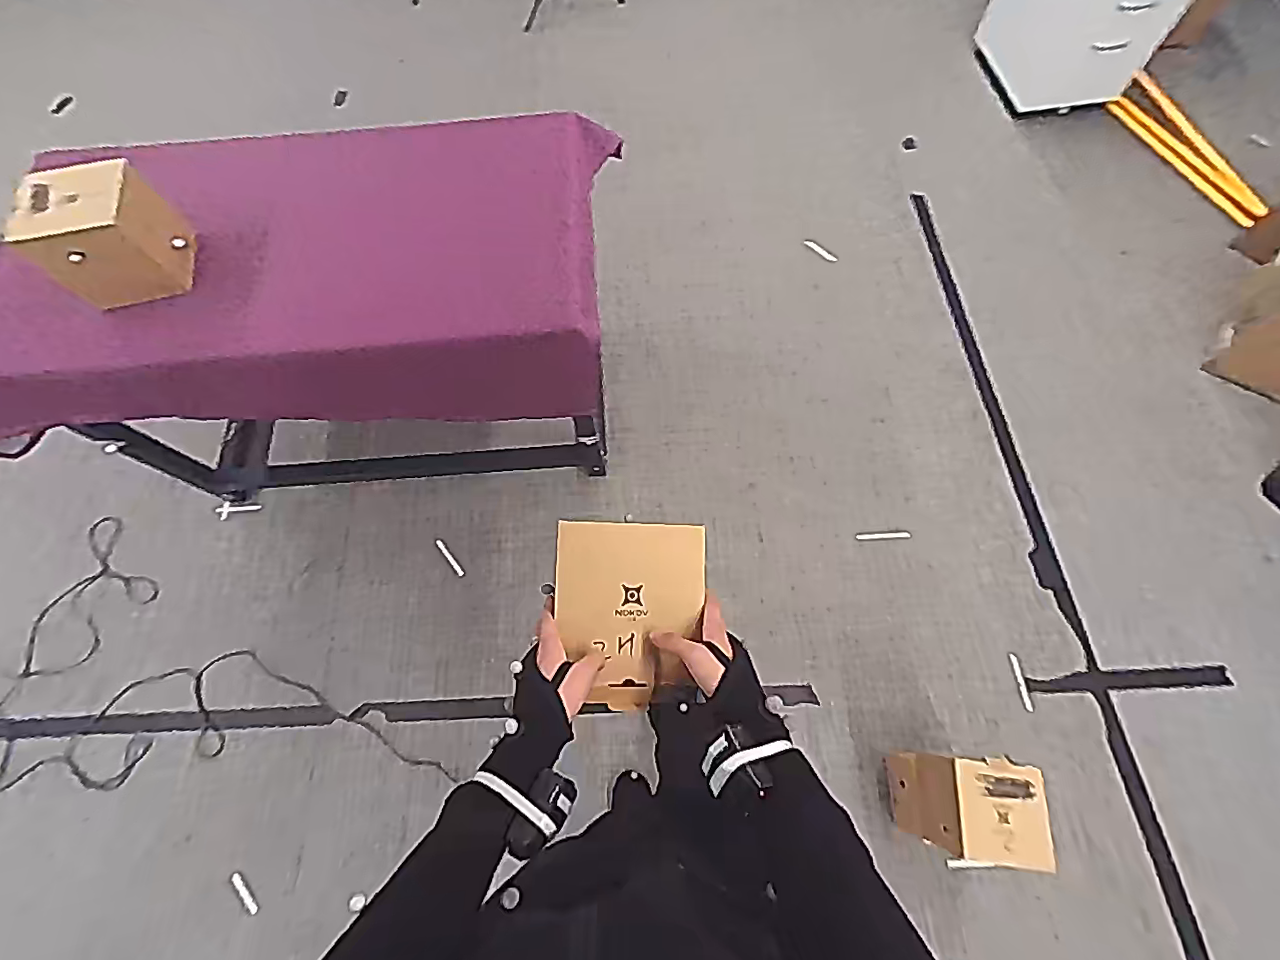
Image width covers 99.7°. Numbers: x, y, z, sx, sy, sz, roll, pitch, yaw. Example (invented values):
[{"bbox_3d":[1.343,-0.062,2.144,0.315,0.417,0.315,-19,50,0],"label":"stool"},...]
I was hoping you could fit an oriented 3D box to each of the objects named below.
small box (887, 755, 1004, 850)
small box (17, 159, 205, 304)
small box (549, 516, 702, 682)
[{"bbox_3d":[0.691,0.738,1.250,0.179,0.176,0.168,1,68,2],"label":"small box"},{"bbox_3d":[-0.970,-0.454,1.010,0.179,0.176,0.168,-13,68,-4],"label":"small box"},{"bbox_3d":[-0.025,0.140,0.666,0.168,0.176,0.179,3,83,-8],"label":"small box"}]
